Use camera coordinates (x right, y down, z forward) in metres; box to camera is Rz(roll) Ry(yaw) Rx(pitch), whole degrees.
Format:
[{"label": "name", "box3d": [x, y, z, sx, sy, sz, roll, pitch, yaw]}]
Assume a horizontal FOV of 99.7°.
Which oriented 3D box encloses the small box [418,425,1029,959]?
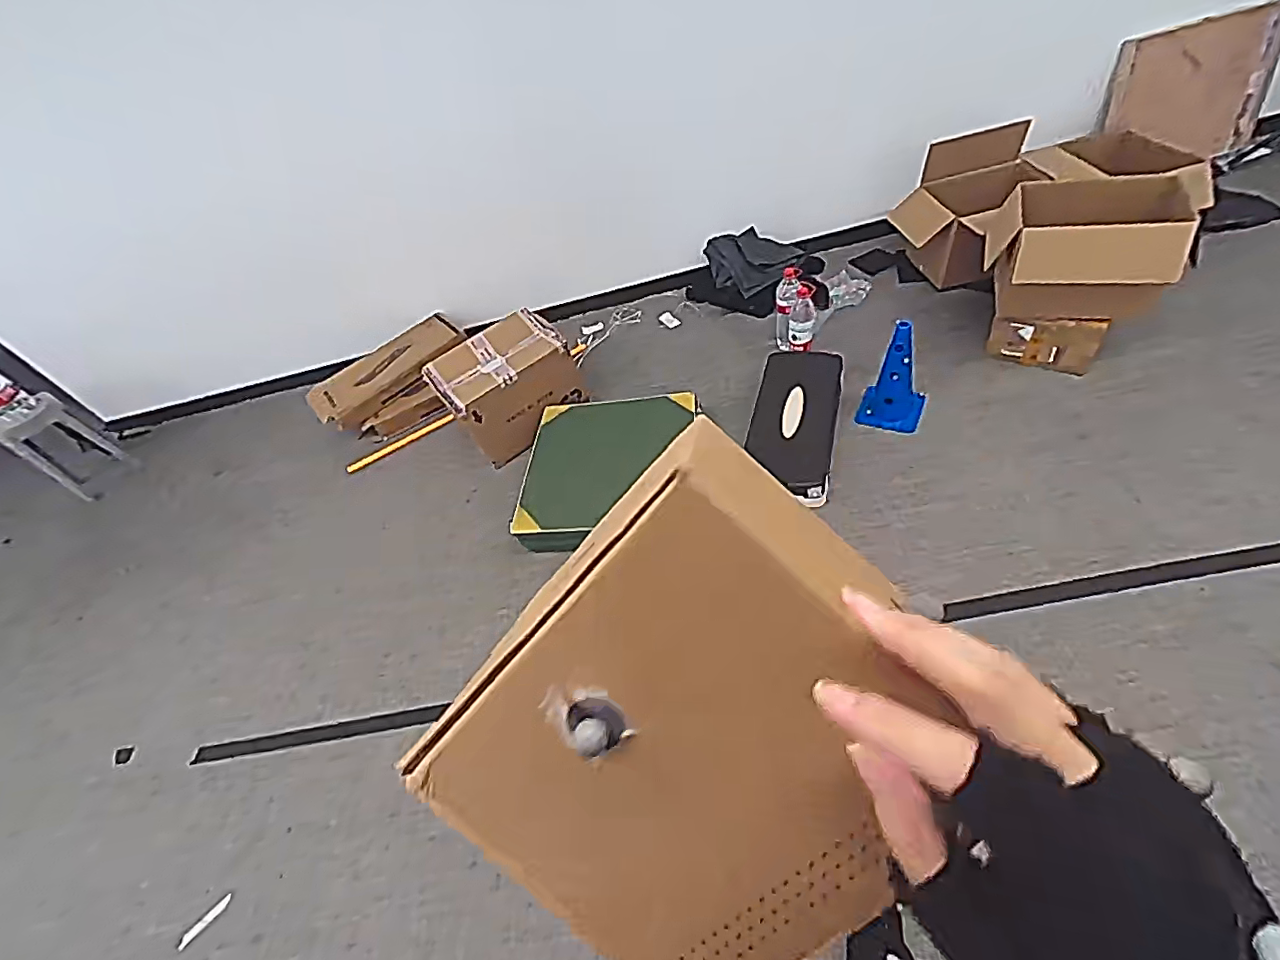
[{"label": "small box", "box3d": [0.035, 0.100, 0.276, 0.176, 0.168, 0.179, 41, 107, -2]}]
